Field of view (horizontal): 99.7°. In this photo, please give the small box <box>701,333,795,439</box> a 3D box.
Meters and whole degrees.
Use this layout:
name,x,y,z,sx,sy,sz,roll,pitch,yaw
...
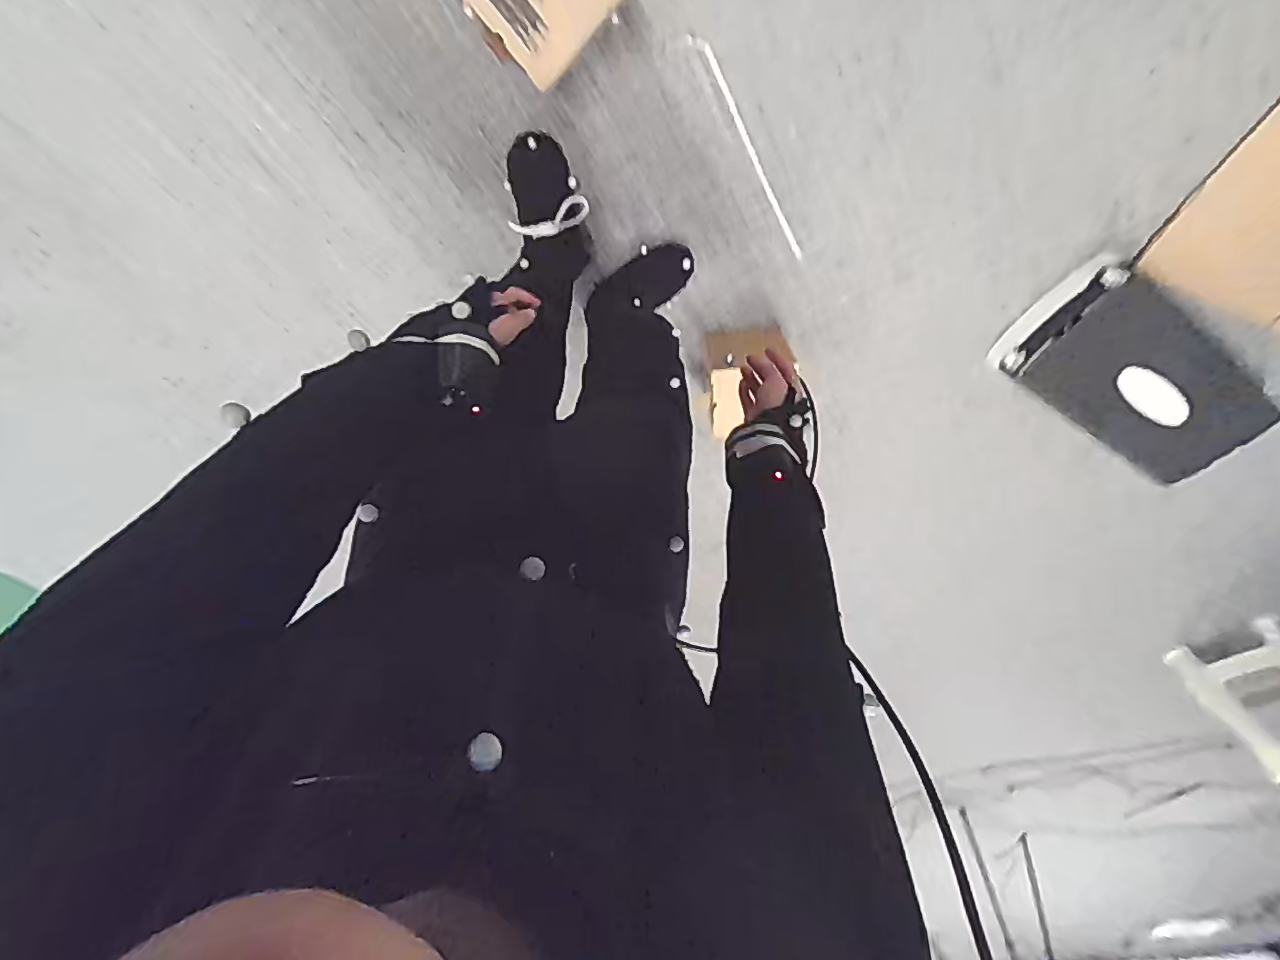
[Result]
name,x,y,z,sx,sy,sz,roll,pitch,yaw
small box,0.229,-0.210,1.188,0.179,0.176,0.168,-4,131,4
